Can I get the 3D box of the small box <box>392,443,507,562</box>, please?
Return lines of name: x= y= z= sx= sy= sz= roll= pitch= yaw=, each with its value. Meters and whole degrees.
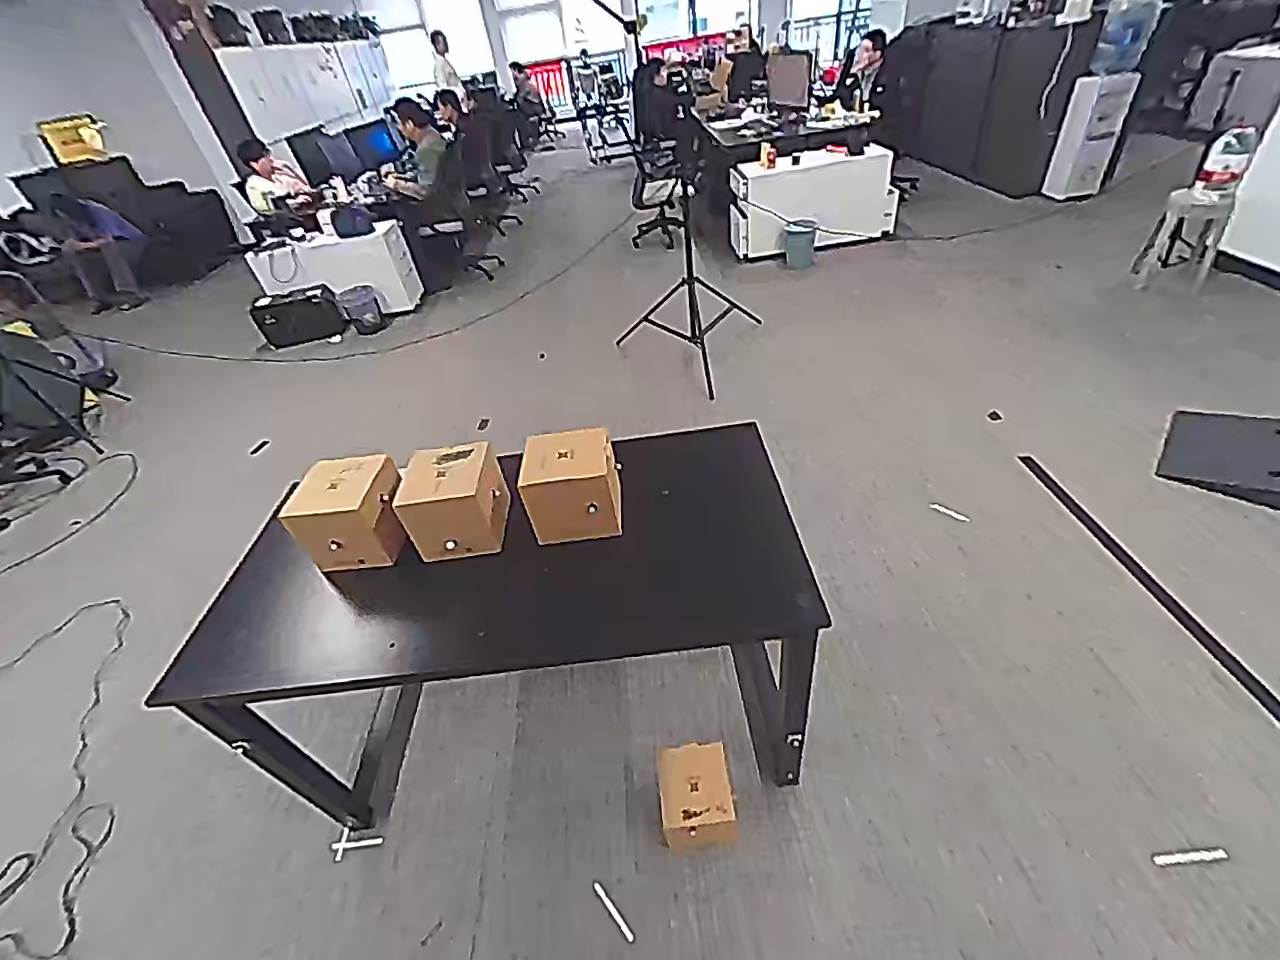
small box: x=-0.389 y=0.048 z=1.142 sx=0.168 sy=0.176 sz=0.179 roll=-8 pitch=41 yaw=1

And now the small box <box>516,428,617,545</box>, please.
small box: x=-0.143 y=0.015 z=1.135 sx=0.179 sy=0.176 sz=0.168 roll=-9 pitch=39 yaw=3

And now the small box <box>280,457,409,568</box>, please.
small box: x=-0.611 y=0.074 z=1.157 sx=0.168 sy=0.176 sz=0.179 roll=-5 pitch=40 yaw=4

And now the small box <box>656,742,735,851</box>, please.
small box: x=0.134 y=0.771 z=1.318 sx=0.168 sy=0.176 sz=0.179 roll=-9 pitch=39 yaw=2
